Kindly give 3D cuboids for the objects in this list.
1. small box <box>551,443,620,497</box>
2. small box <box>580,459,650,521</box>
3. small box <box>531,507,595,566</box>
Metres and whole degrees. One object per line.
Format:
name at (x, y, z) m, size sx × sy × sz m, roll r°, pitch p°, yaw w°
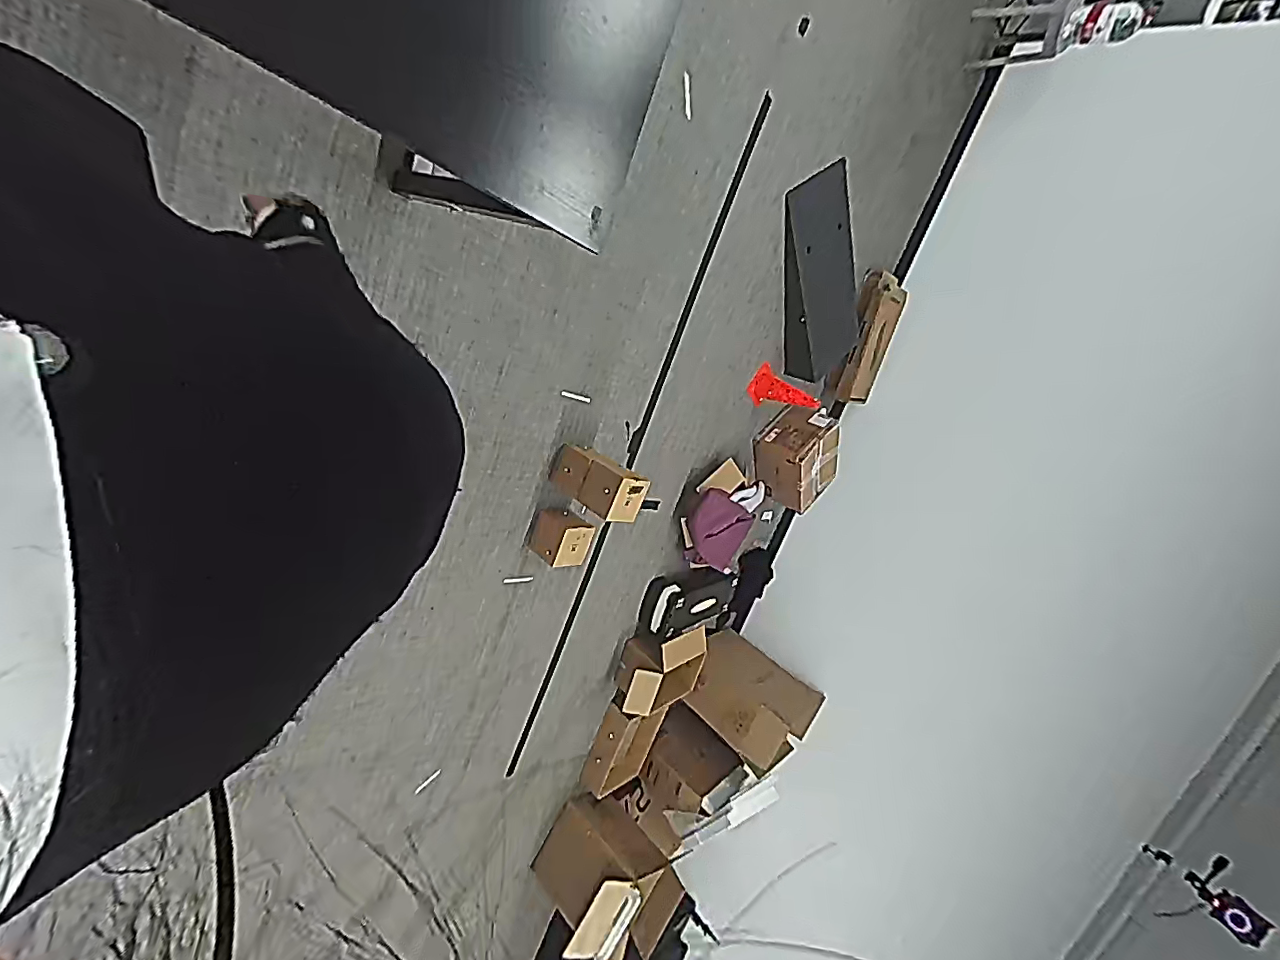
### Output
small box at (-0.218, -0.034, 2.120) m, size 0.179 × 0.176 × 0.168 m, roll 10°, pitch 107°, yaw -52°
small box at (-0.098, 0.037, 2.029) m, size 0.168 × 0.176 × 0.179 m, roll 9°, pitch 108°, yaw -52°
small box at (-0.316, 0.227, 2.187) m, size 0.168 × 0.176 × 0.179 m, roll 5°, pitch 112°, yaw -51°
